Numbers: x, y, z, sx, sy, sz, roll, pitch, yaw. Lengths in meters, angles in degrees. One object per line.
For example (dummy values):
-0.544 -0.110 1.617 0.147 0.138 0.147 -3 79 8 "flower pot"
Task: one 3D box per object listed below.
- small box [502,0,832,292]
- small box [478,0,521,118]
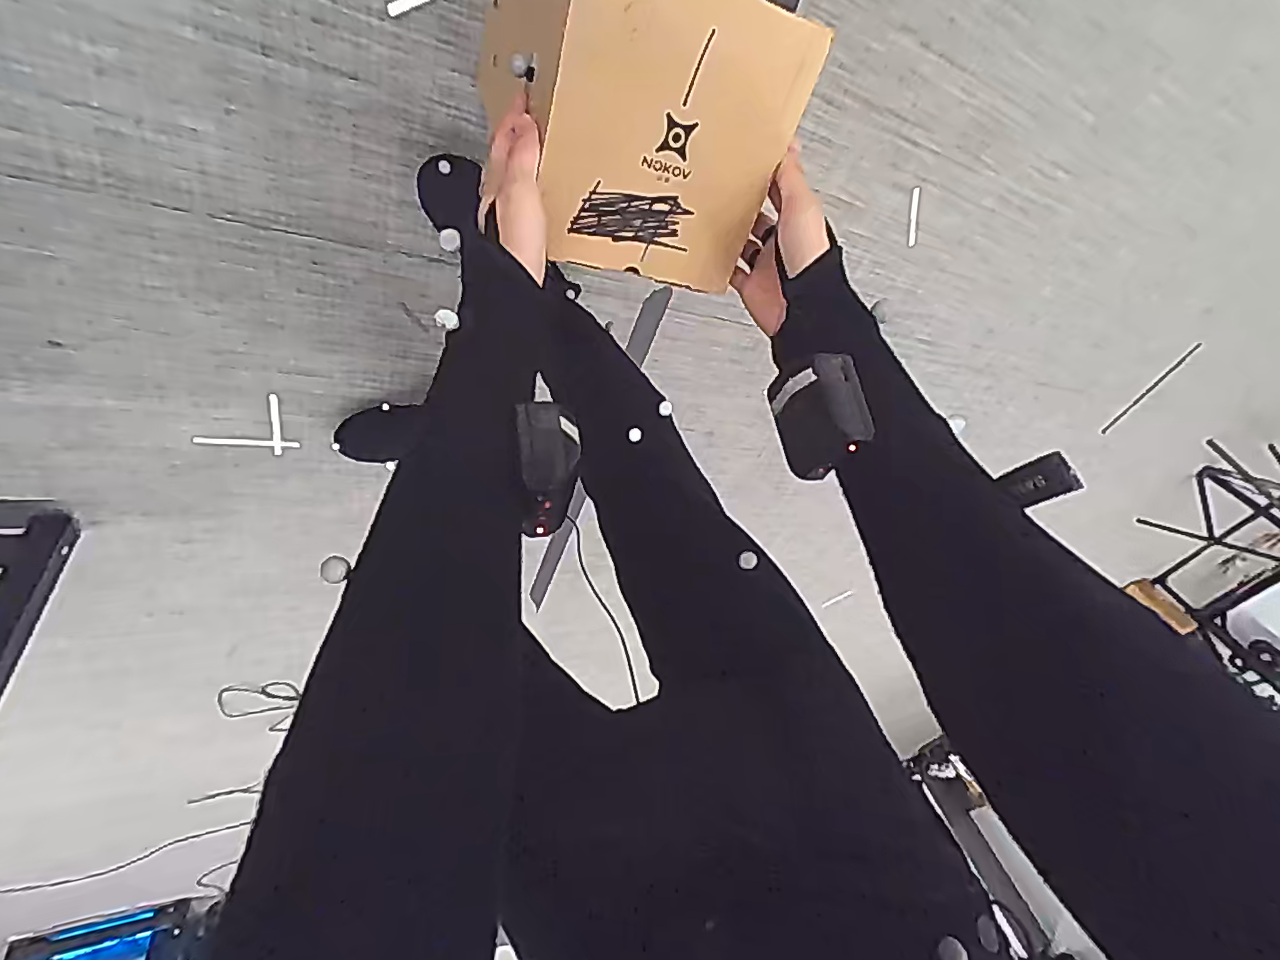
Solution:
-0.003 -0.272 0.401 0.168 0.176 0.179 2 134 -25 "small box"
-0.085 -0.509 0.616 0.168 0.176 0.179 2 134 -26 "small box"
